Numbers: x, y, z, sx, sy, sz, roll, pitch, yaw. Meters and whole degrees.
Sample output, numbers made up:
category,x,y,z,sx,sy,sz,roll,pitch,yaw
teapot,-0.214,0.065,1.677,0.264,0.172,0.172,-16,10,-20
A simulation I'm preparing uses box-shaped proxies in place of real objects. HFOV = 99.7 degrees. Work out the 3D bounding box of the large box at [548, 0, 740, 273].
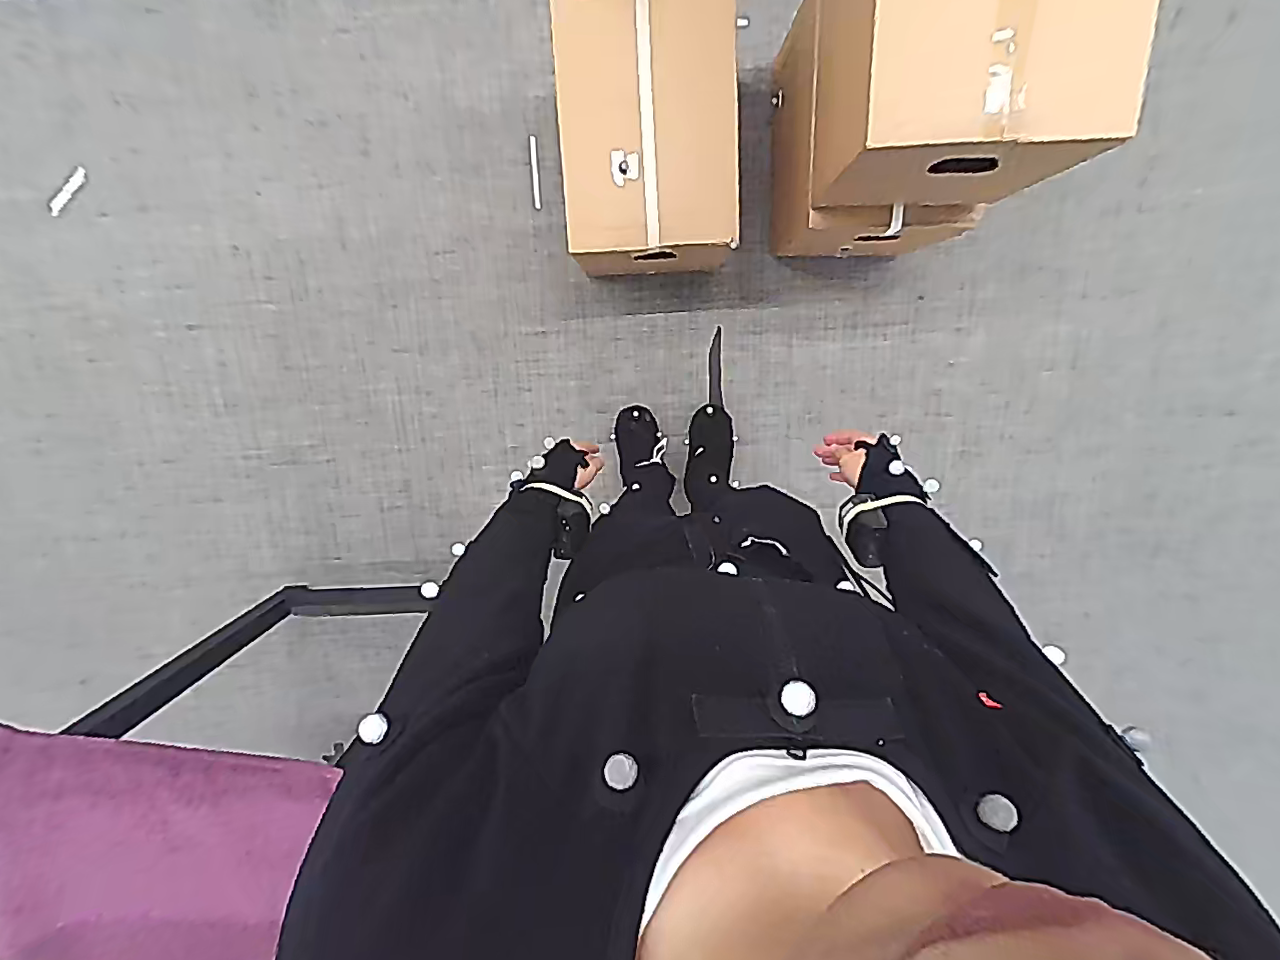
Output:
category,x,y,z,sx,sy,sz,roll,pitch,yaw
large box,0.015,-0.653,1.080,0.320,0.320,0.408,-3,104,2
